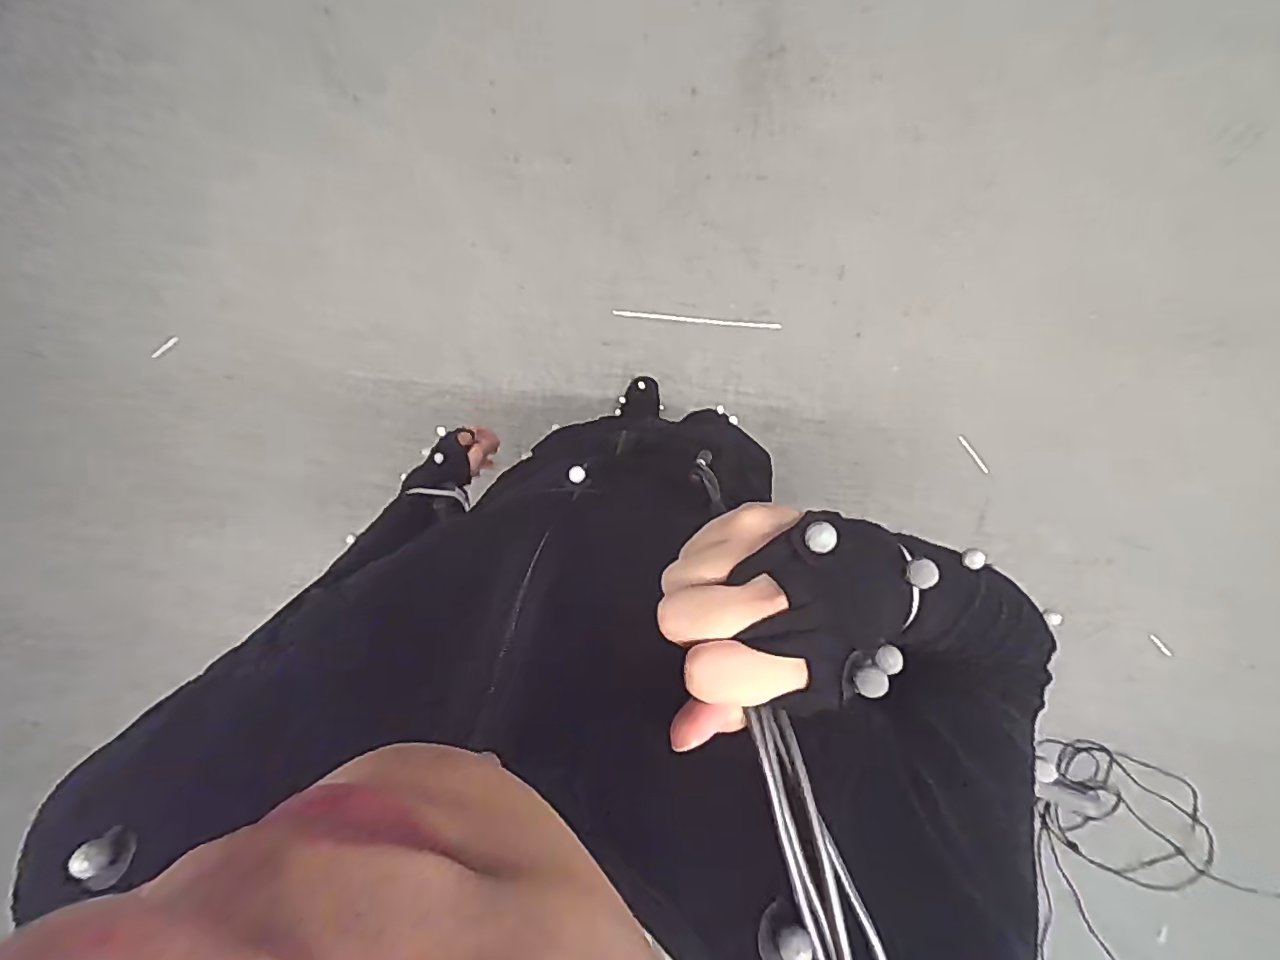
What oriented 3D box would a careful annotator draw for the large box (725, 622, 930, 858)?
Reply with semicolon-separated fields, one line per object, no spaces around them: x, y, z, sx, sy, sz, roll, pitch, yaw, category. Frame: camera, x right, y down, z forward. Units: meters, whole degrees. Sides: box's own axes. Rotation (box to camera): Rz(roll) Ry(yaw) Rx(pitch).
0.457;0.650;1.405;0.320;0.320;0.408;22;100;-3;large box
